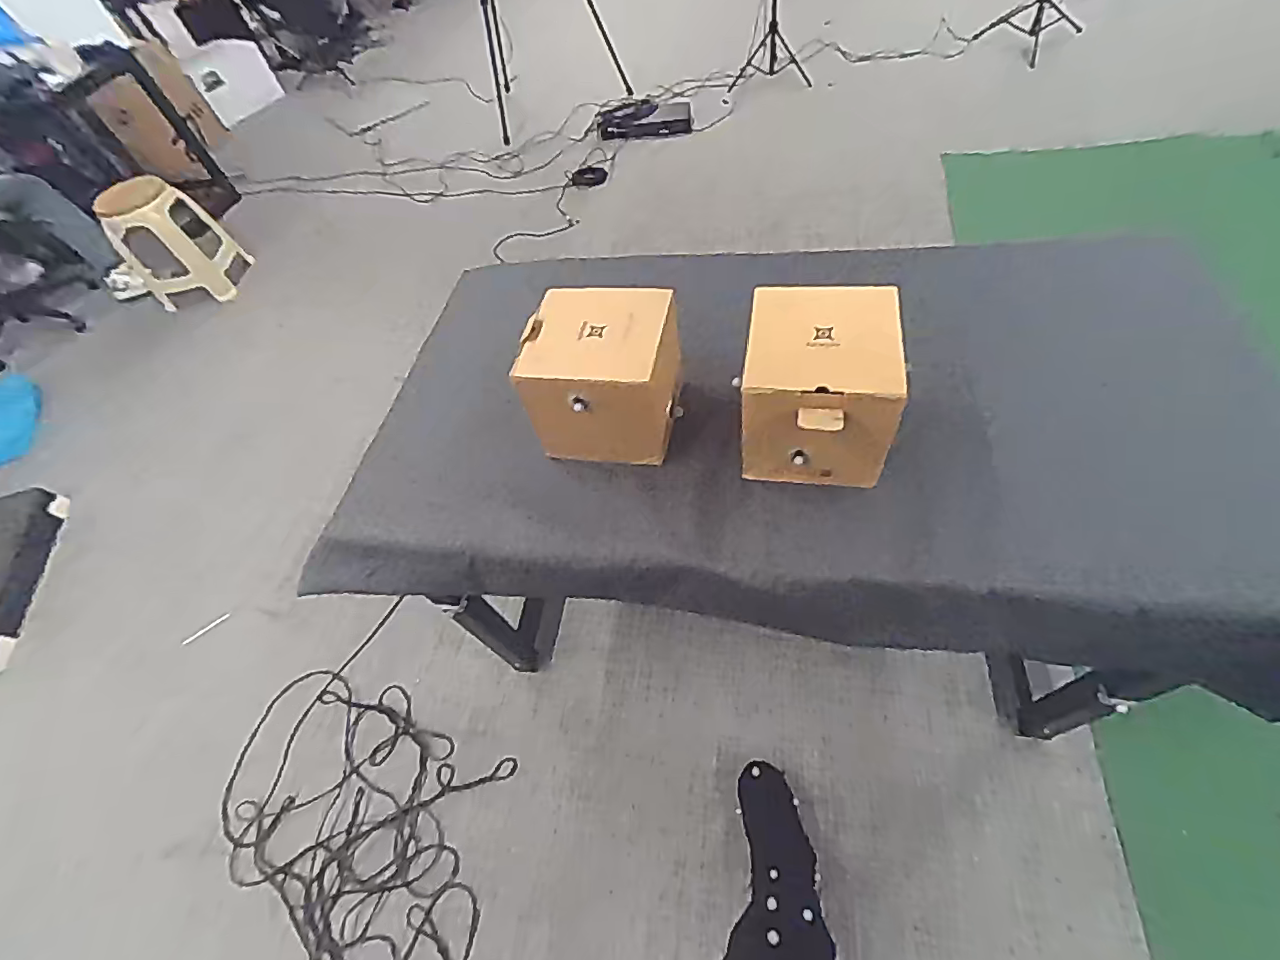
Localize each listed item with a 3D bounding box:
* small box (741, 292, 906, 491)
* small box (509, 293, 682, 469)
[{"bbox_3d":[0.216,-0.109,0.671,0.168,0.176,0.179,4,56,13],"label":"small box"},{"bbox_3d":[-0.047,-0.130,0.732,0.179,0.176,0.168,6,57,13],"label":"small box"}]
